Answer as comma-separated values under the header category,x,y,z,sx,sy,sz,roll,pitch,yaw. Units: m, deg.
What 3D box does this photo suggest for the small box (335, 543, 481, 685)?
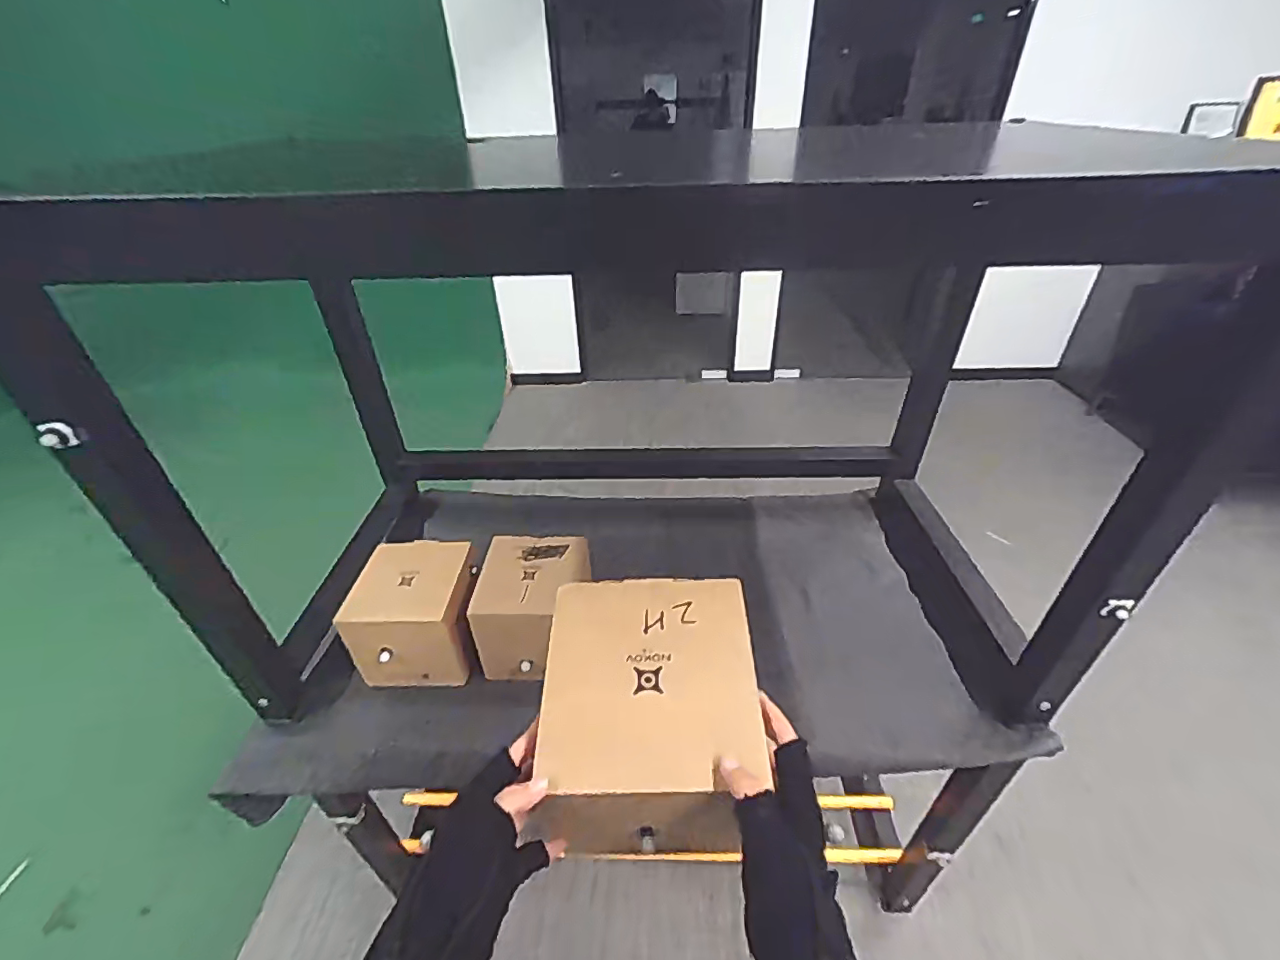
category,x,y,z,sx,sy,sz,roll,pitch,yaw
small box,-0.367,0.226,0.909,0.168,0.176,0.179,0,35,1

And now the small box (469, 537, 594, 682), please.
category,x,y,z,sx,sy,sz,roll,pitch,yaw
small box,-0.170,0.215,0.914,0.168,0.176,0.179,-1,36,2
